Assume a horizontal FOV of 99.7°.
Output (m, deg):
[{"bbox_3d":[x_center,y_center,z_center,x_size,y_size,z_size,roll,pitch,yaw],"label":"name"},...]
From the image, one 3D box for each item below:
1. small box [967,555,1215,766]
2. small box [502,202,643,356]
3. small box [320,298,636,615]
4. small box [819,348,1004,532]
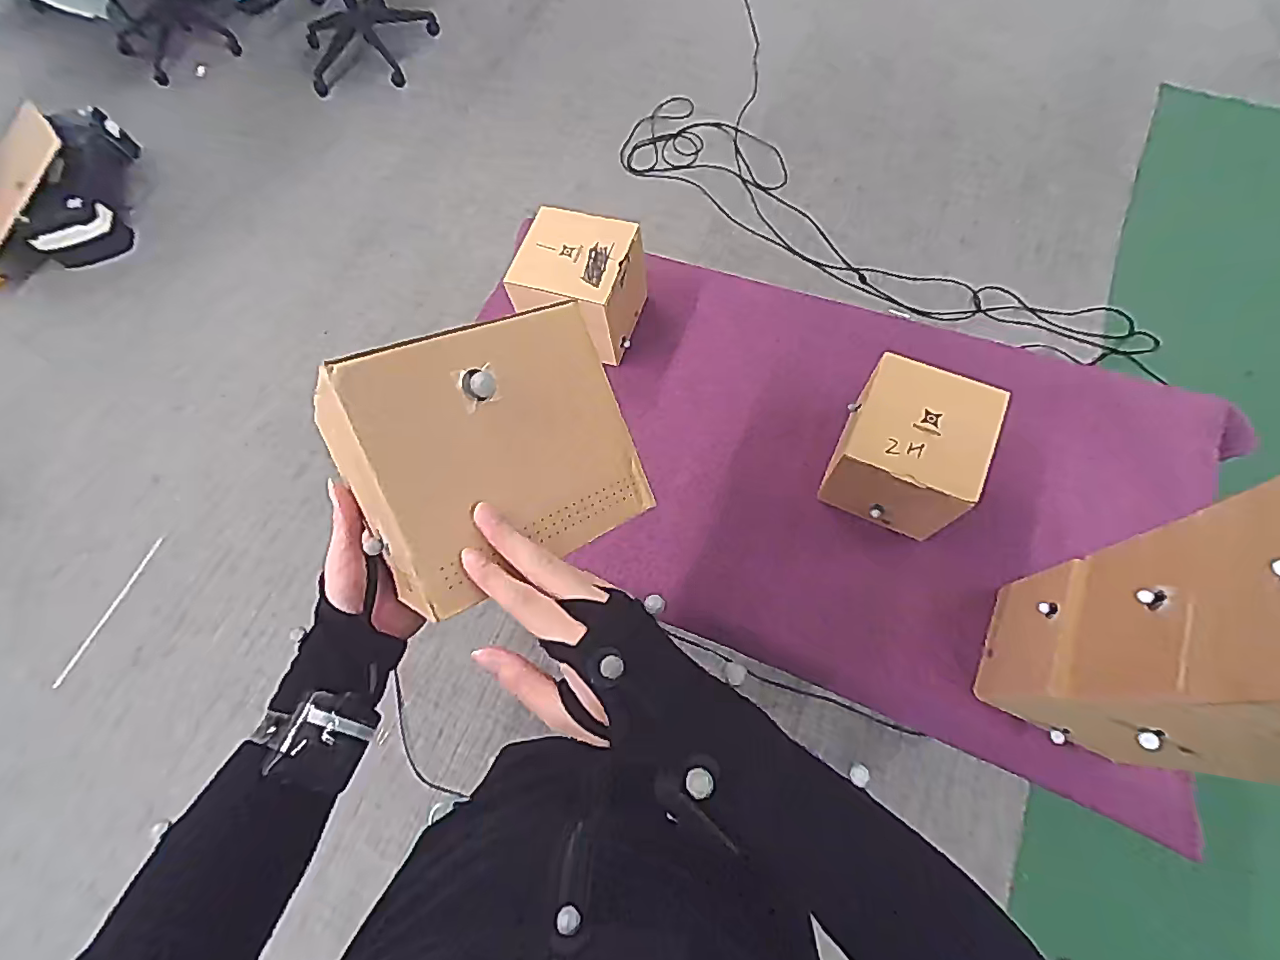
[{"bbox_3d":[0.546,0.216,0.660,0.179,0.176,0.168,24,71,13],"label":"small box"},{"bbox_3d":[-0.102,-0.335,0.925,0.179,0.176,0.168,16,71,11],"label":"small box"},{"bbox_3d":[-0.122,-0.019,0.425,0.179,0.168,0.176,-27,100,-30],"label":"small box"},{"bbox_3d":[0.376,-0.051,0.778,0.168,0.176,0.179,24,73,14],"label":"small box"}]
